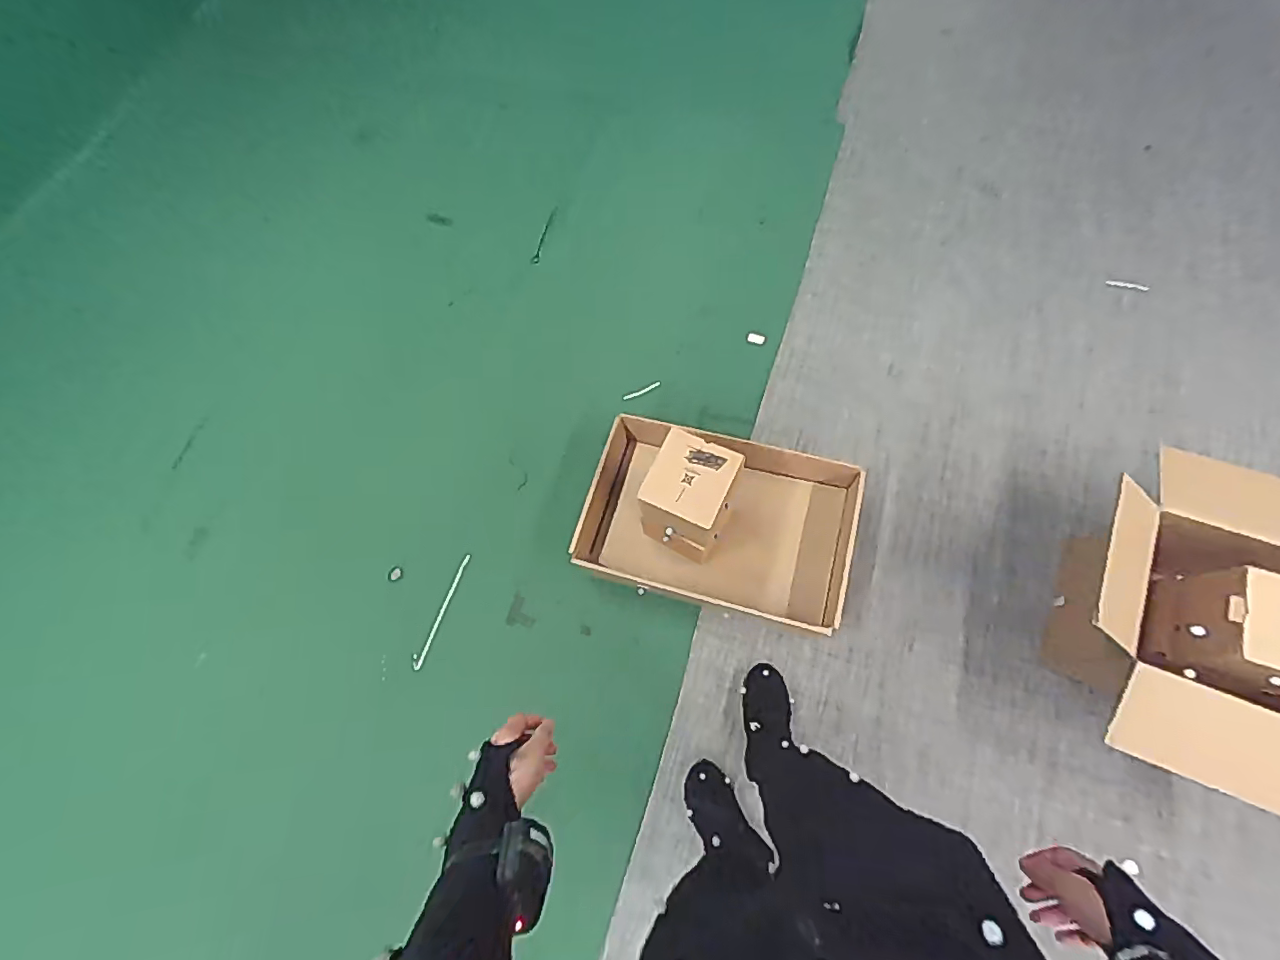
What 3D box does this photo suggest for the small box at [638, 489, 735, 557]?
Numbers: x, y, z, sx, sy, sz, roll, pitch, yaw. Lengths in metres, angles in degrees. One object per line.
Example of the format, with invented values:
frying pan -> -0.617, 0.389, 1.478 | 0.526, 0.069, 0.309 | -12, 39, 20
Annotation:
small box -> 0.116, 0.076, 1.332 | 0.179, 0.176, 0.168 | 27, 74, 14

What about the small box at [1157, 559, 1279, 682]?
small box -> 1.109, 0.263, 0.990 | 0.179, 0.176, 0.168 | 18, 75, 12

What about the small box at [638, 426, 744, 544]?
small box -> 0.110, 0.016, 1.178 | 0.168, 0.176, 0.179 | 24, 75, 14
